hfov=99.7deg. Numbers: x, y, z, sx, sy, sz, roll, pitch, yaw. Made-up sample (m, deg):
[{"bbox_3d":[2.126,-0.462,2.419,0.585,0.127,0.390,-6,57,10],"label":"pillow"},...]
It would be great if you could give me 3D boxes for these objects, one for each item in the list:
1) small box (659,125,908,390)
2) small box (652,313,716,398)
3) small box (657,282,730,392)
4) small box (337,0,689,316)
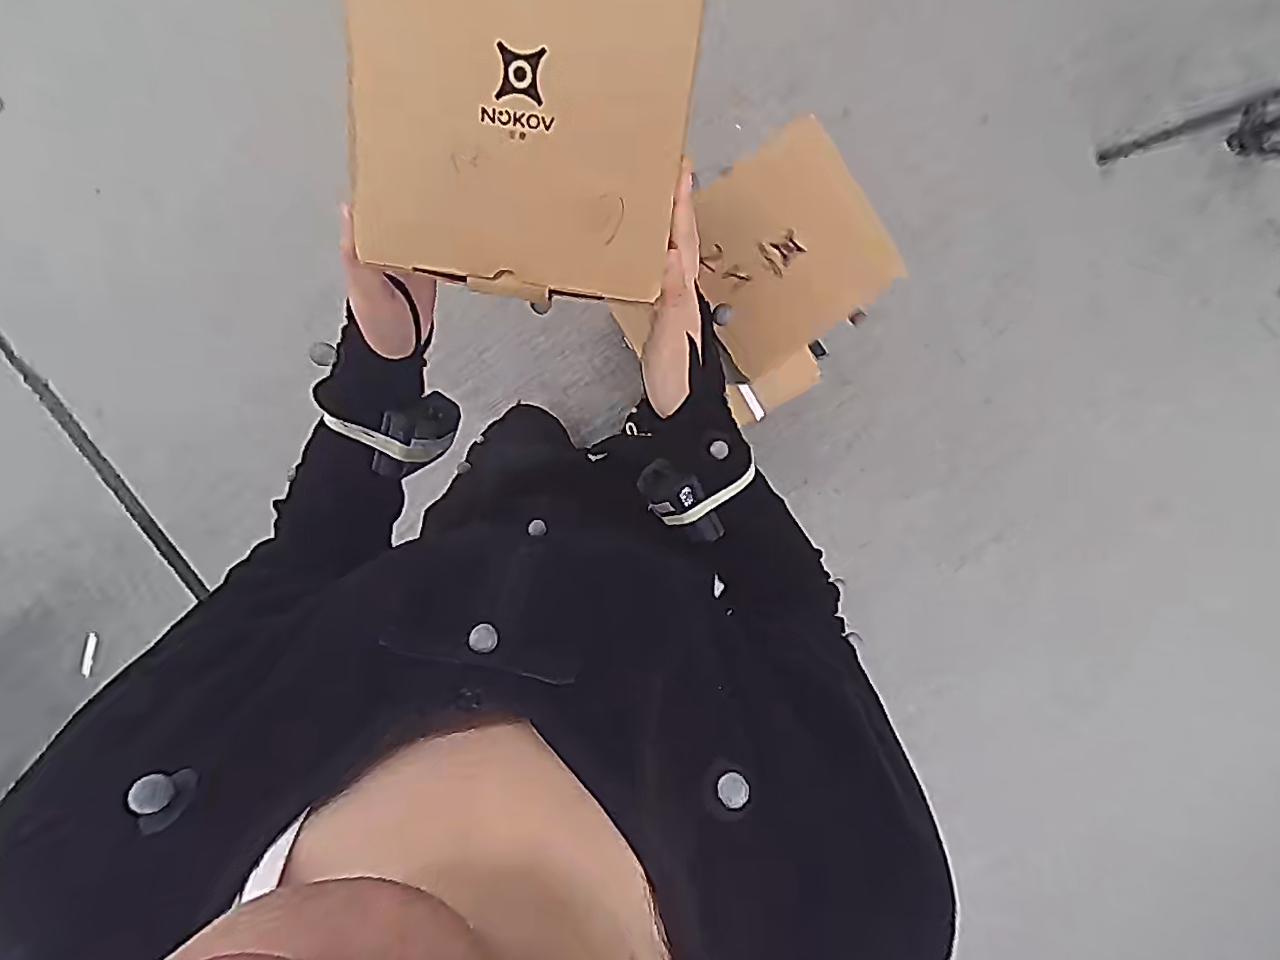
[{"bbox_3d":[0.130,-0.211,0.566,0.179,0.176,0.168,-34,96,7],"label":"small box"},{"bbox_3d":[0.136,-0.274,1.053,0.168,0.176,0.179,-33,97,7],"label":"small box"},{"bbox_3d":[0.132,-0.235,0.729,0.179,0.176,0.168,-33,97,7],"label":"small box"},{"bbox_3d":[-0.060,-0.208,0.341,0.168,0.176,0.179,7,110,0],"label":"small box"}]
